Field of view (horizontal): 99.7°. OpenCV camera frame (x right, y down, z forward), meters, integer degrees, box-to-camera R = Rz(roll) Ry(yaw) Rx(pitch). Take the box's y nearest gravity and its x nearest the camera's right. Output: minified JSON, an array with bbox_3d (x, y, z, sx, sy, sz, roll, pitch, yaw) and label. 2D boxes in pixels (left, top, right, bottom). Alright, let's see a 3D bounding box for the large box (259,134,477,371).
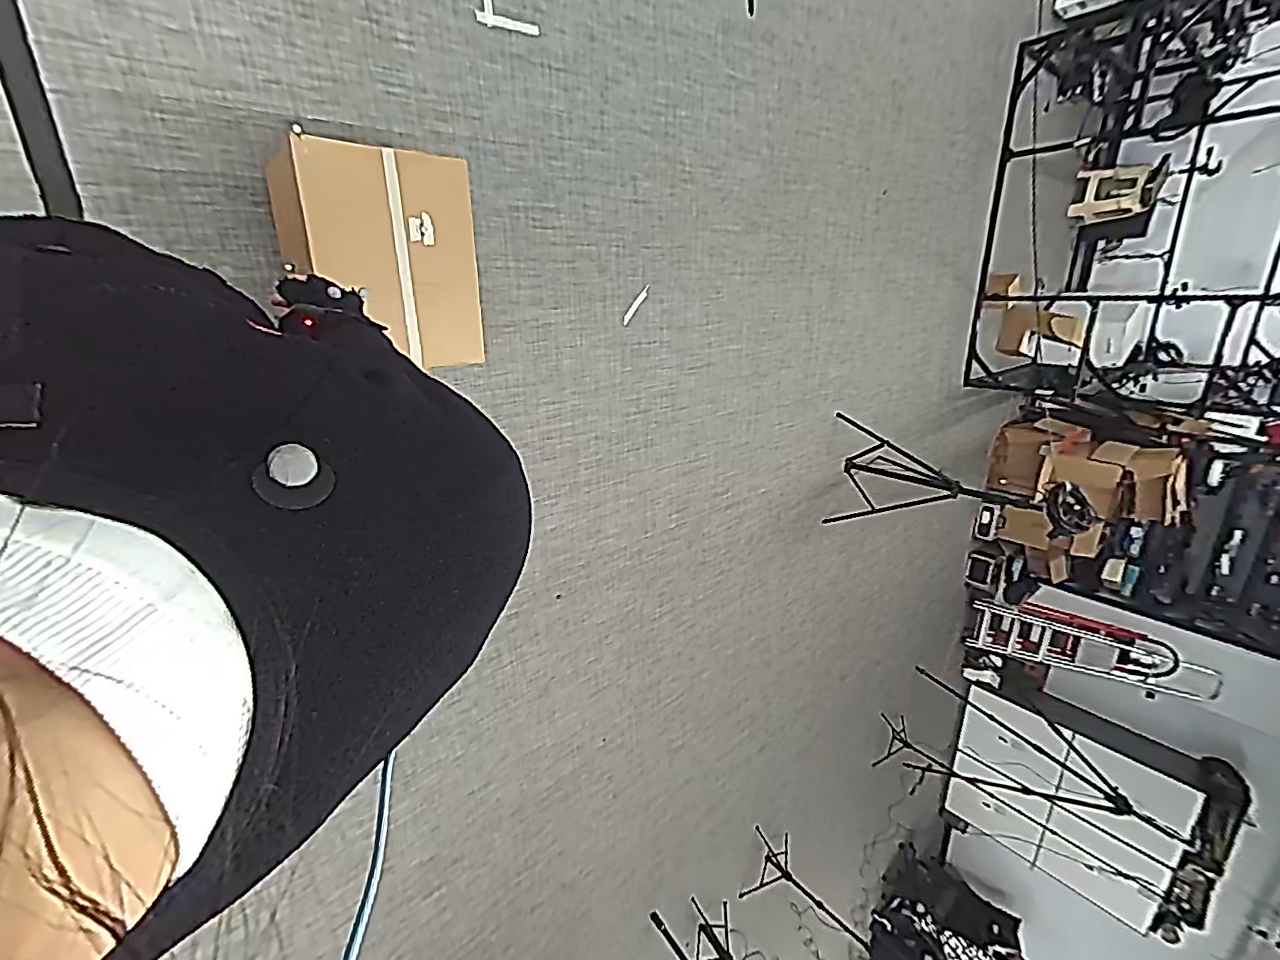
[{"bbox_3d":[-0.585,-0.461,1.175,0.320,0.320,0.408,-16,113,-39],"label":"large box"}]
